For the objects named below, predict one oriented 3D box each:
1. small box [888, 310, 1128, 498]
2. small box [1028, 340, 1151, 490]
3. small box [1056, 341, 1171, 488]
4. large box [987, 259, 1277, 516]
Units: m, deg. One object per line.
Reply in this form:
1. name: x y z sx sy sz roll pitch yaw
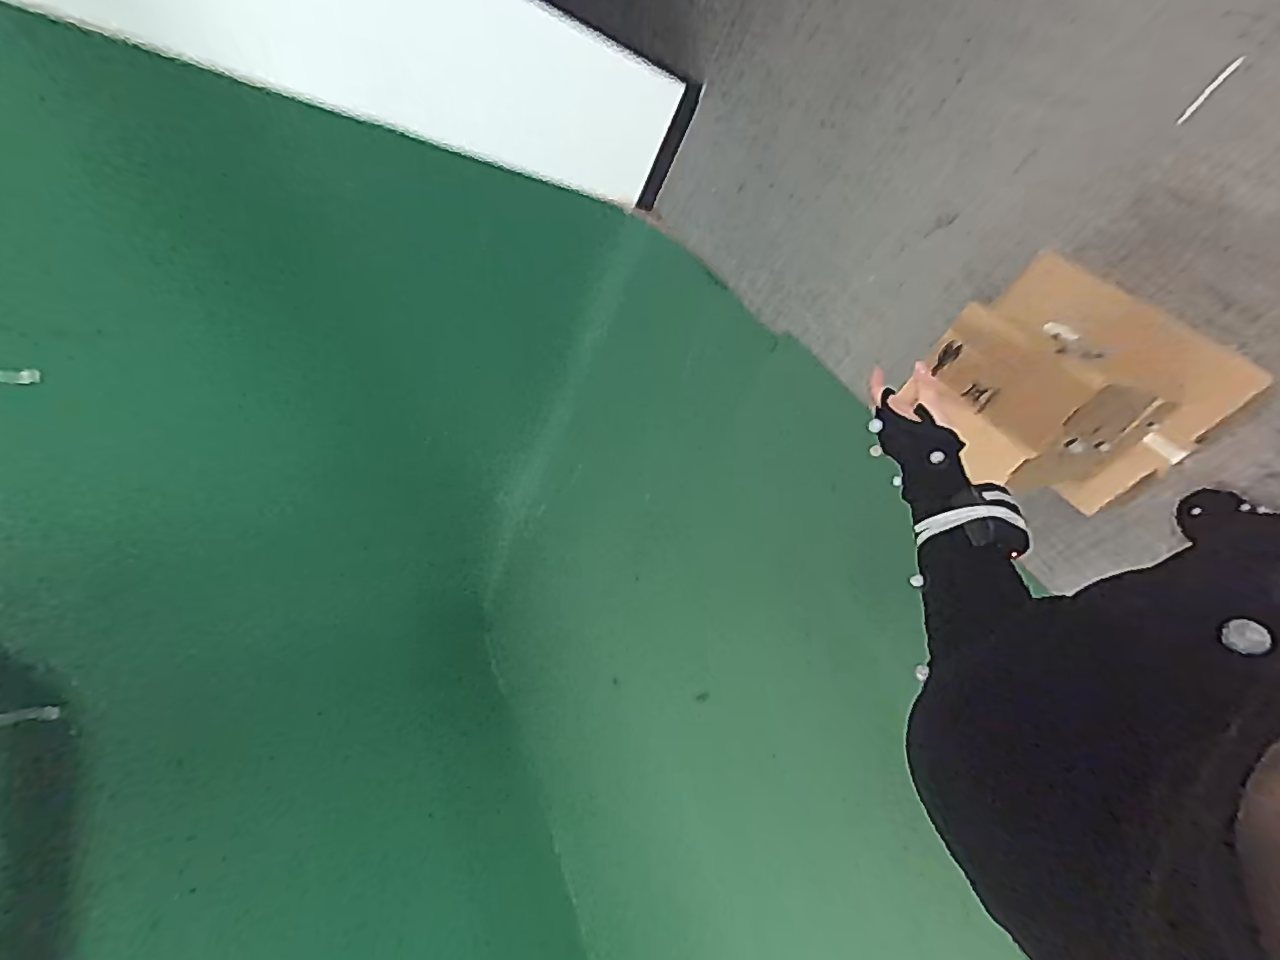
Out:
1. small box: 0.478 -0.099 0.707 0.179 0.176 0.168 54 131 34
2. small box: 0.605 -0.105 0.812 0.179 0.176 0.168 53 130 36
3. small box: 0.736 -0.108 0.911 0.168 0.176 0.179 56 133 33
4. large box: 0.900 -0.181 1.090 0.408 0.320 0.320 57 133 33
